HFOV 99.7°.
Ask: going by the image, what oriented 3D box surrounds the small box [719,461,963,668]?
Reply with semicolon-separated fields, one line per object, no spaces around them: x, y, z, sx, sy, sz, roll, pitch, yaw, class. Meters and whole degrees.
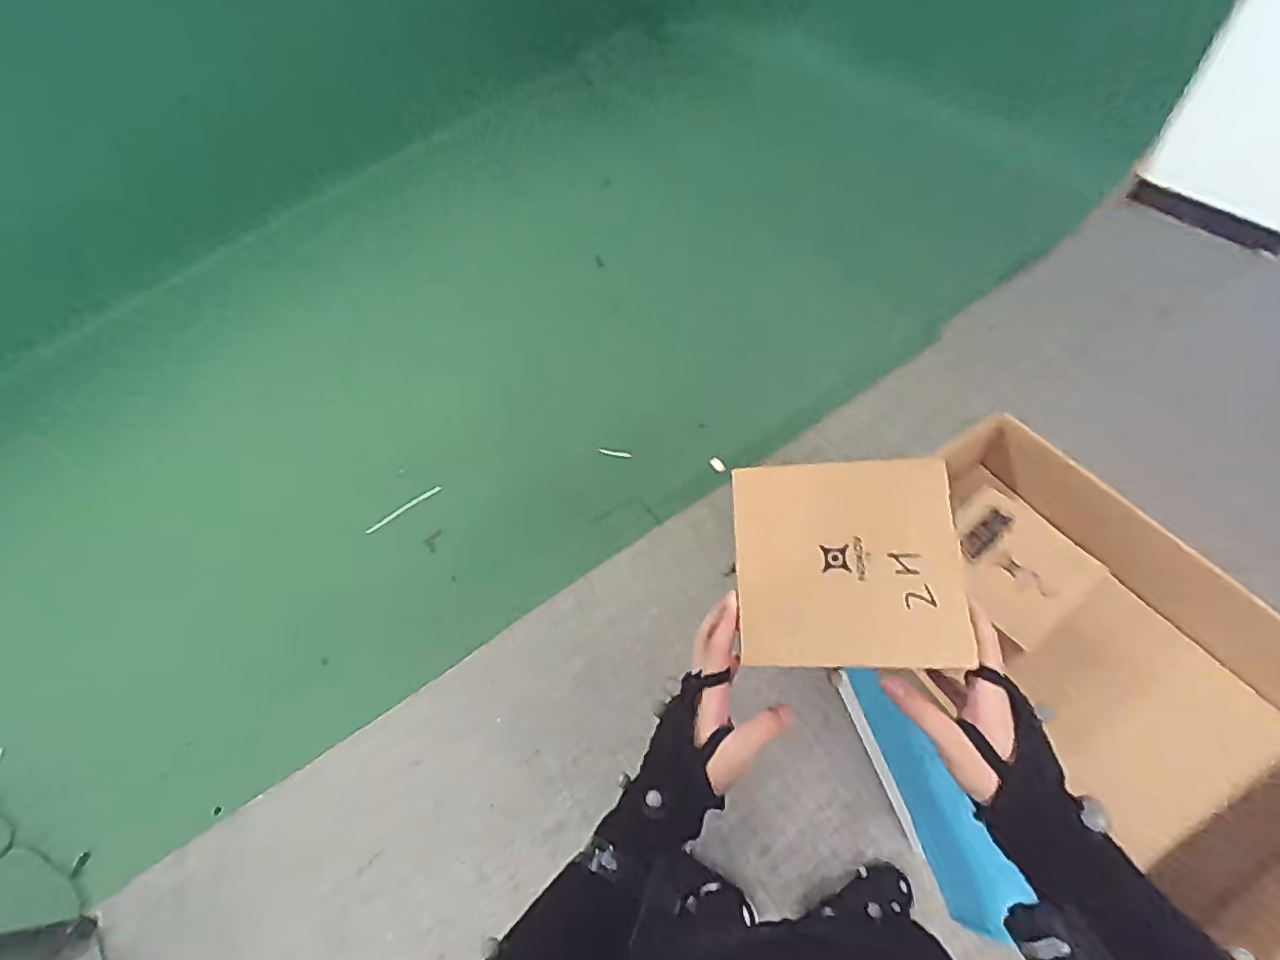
0.168;0.088;0.510;0.179;0.176;0.168;-2;73;9;small box
